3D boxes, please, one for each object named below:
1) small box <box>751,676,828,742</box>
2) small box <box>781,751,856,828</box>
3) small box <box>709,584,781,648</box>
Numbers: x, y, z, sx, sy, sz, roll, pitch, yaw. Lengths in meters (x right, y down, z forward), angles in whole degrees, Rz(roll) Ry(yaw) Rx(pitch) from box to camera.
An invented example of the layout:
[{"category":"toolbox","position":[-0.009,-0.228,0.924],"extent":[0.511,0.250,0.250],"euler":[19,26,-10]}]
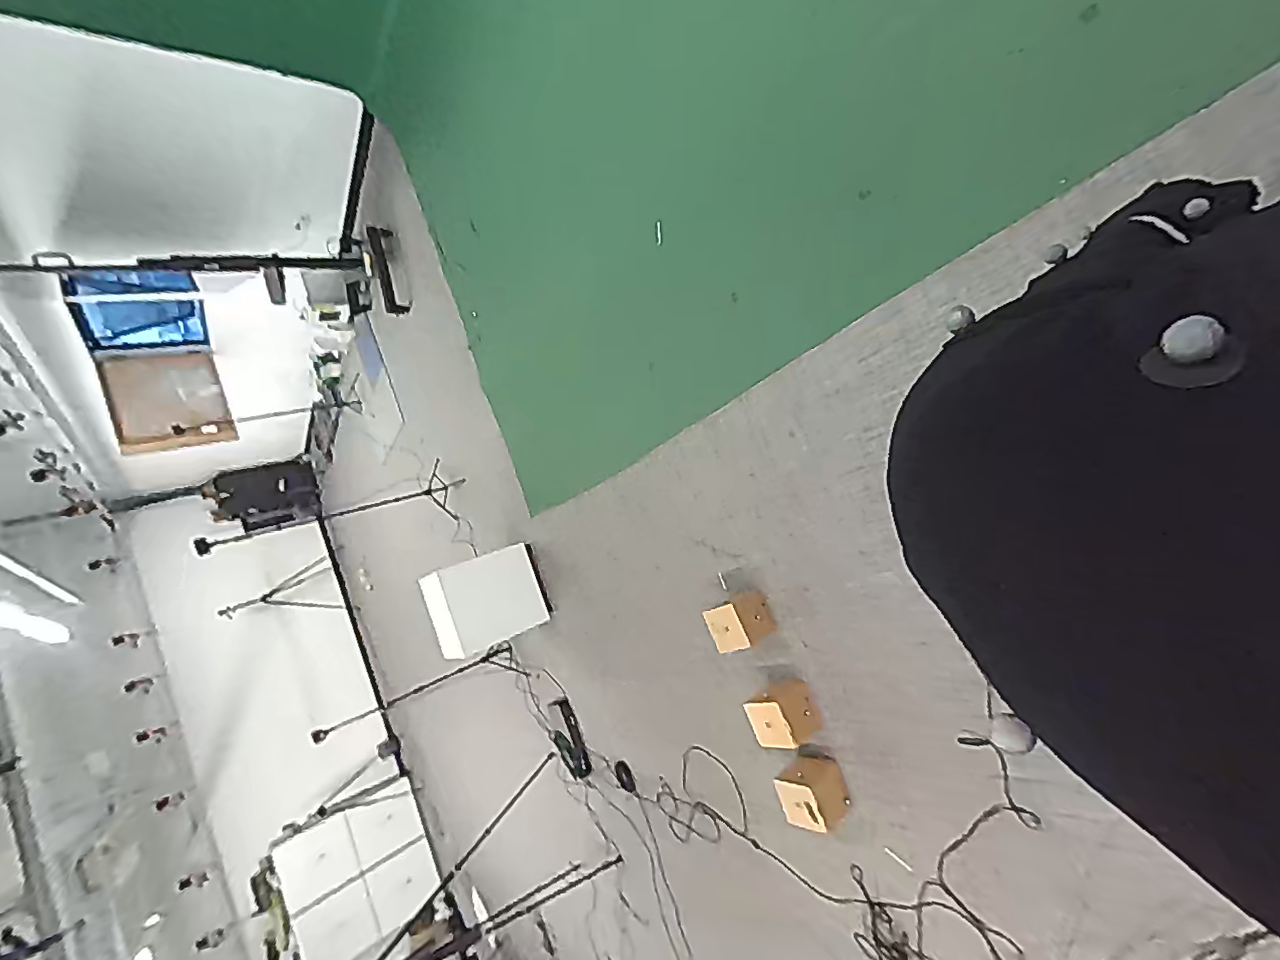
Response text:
[{"category":"small box","position":[0.546,0.831,1.970],"extent":[0.179,0.176,0.168],"euler":[-33,77,50]},{"category":"small box","position":[0.649,1.102,1.943],"extent":[0.179,0.176,0.168],"euler":[-26,83,52]},{"category":"small box","position":[0.400,0.507,2.023],"extent":[0.179,0.176,0.168],"euler":[-36,75,50]}]
